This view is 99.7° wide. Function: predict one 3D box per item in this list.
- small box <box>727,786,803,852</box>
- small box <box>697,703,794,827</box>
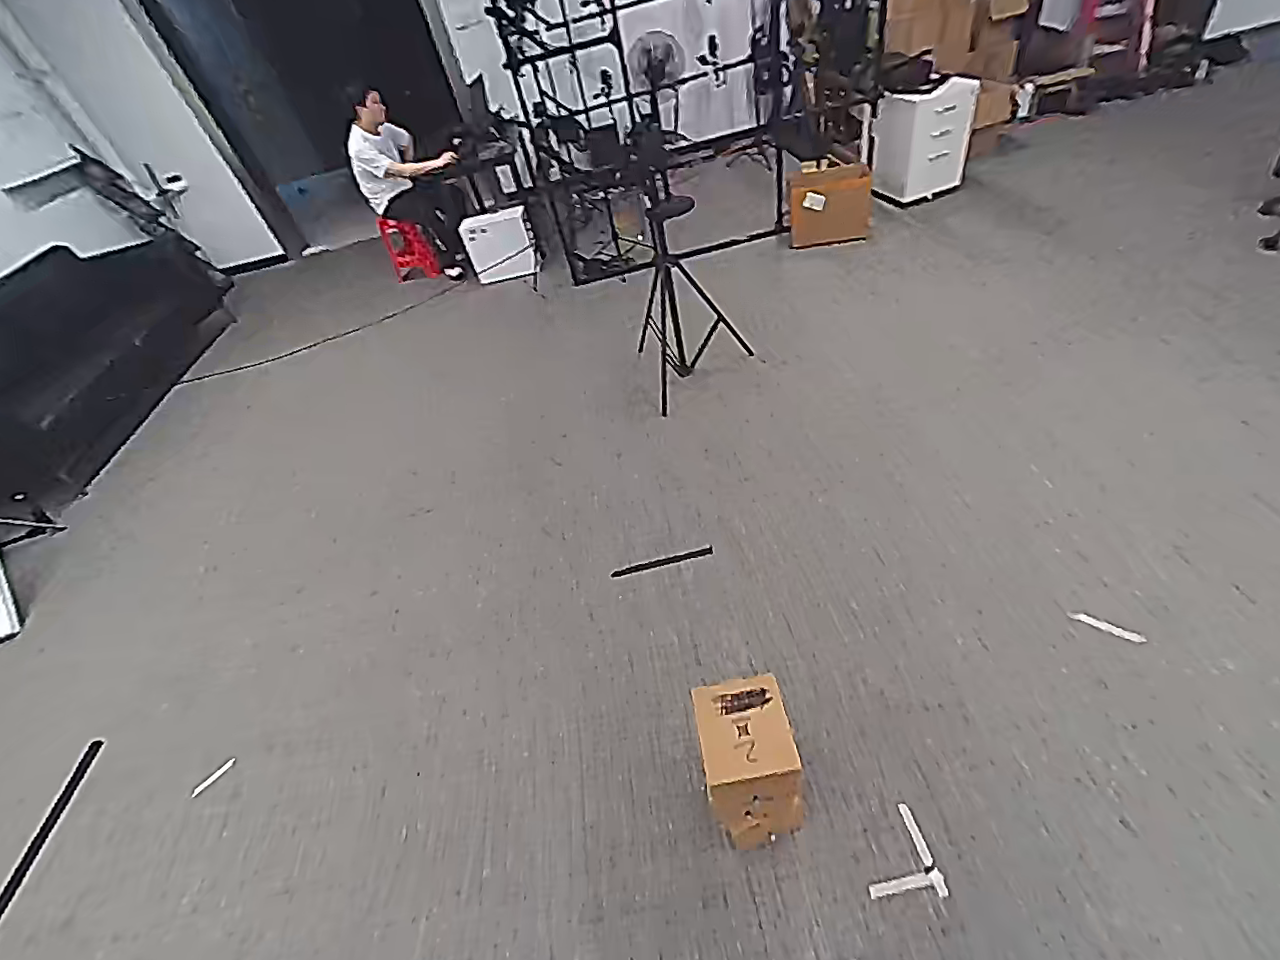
[{"bbox_3d":[0.262,0.727,1.261,0.168,0.176,0.179,-22,44,-5],"label":"small box"},{"bbox_3d":[0.222,0.609,1.155,0.168,0.176,0.179,-13,44,3],"label":"small box"}]
